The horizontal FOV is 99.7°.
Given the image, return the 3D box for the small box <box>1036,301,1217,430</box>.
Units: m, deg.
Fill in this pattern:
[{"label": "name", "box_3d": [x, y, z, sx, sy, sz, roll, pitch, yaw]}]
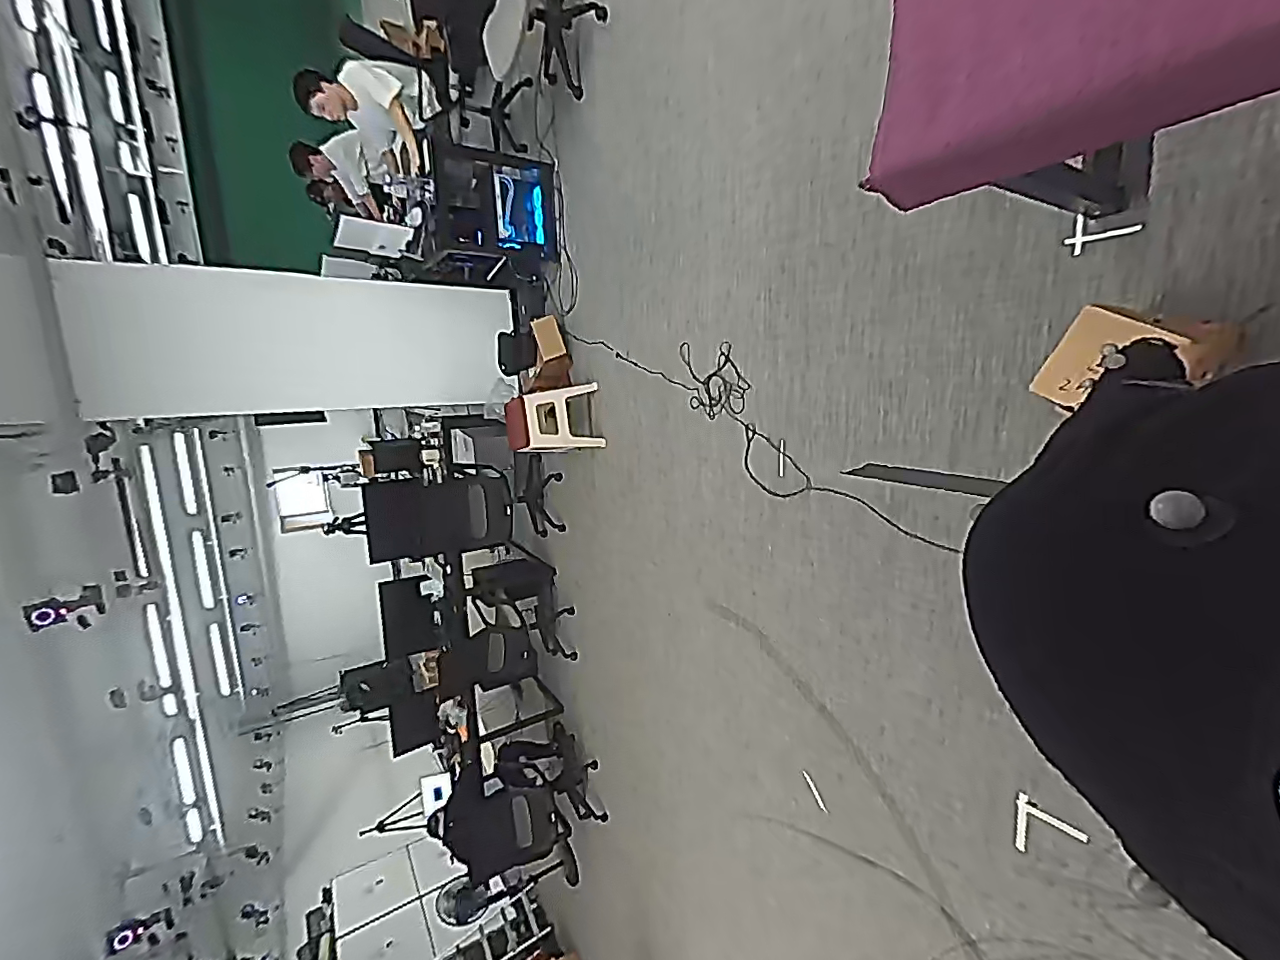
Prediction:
[{"label": "small box", "box_3d": [0.892, -0.214, 0.992, 0.168, 0.176, 0.179, 49, 137, 41]}]
